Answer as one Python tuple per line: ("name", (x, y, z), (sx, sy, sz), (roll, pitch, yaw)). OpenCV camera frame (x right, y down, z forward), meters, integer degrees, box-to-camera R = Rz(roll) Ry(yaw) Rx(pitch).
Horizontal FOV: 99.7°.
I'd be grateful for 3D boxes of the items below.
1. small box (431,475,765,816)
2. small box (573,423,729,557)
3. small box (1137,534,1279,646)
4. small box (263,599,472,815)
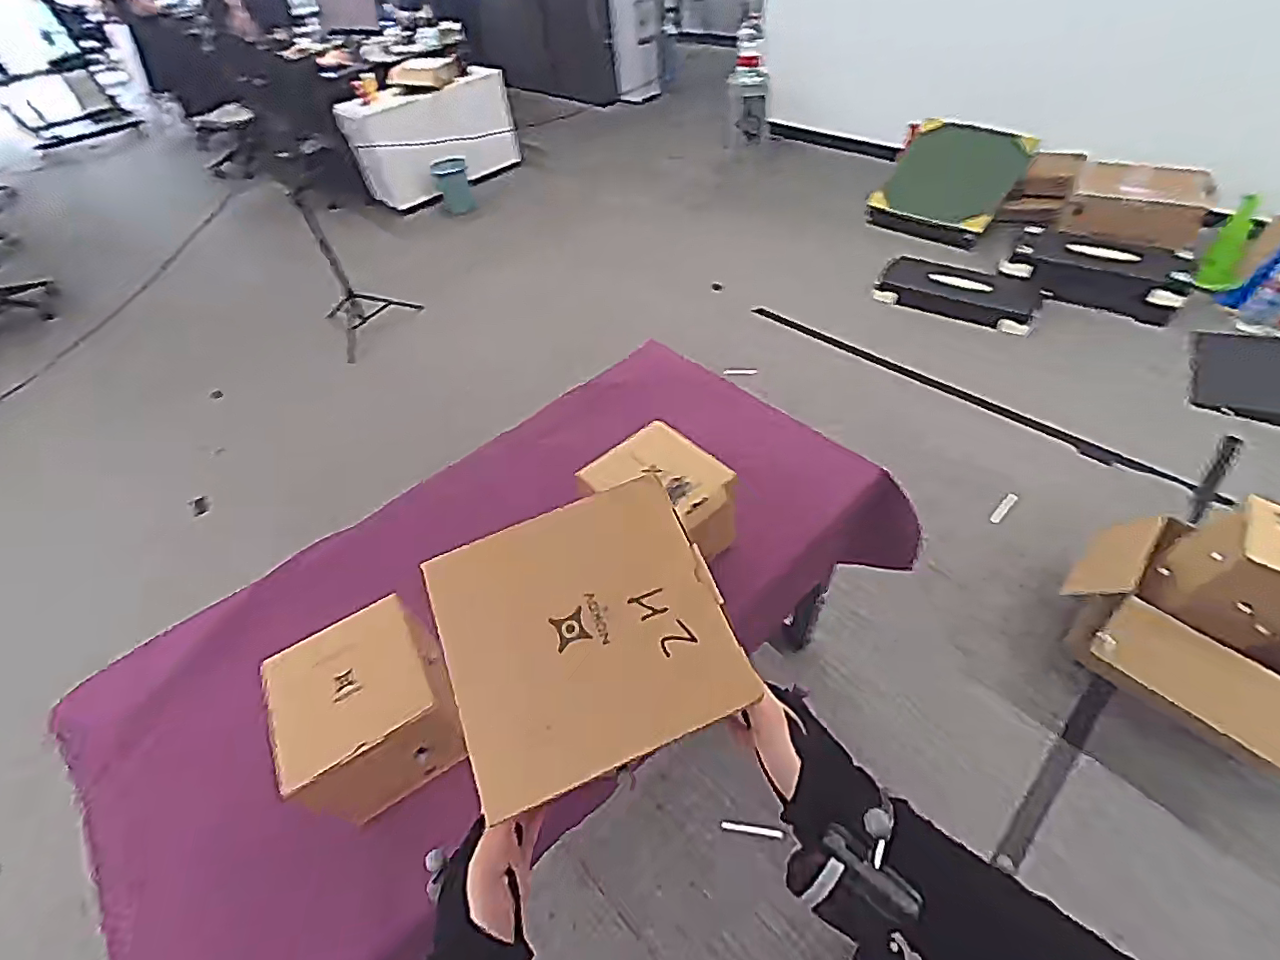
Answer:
("small box", (-0.030, 0.127, 0.414), (0.179, 0.176, 0.168), (-21, 66, -8))
("small box", (0.023, 0.048, 0.852), (0.168, 0.176, 0.179), (-35, 53, -22))
("small box", (1.294, 0.257, 1.245), (0.179, 0.176, 0.168), (18, 56, 16))
("small box", (-0.336, 0.293, 0.687), (0.168, 0.176, 0.179), (-28, 52, -18))
